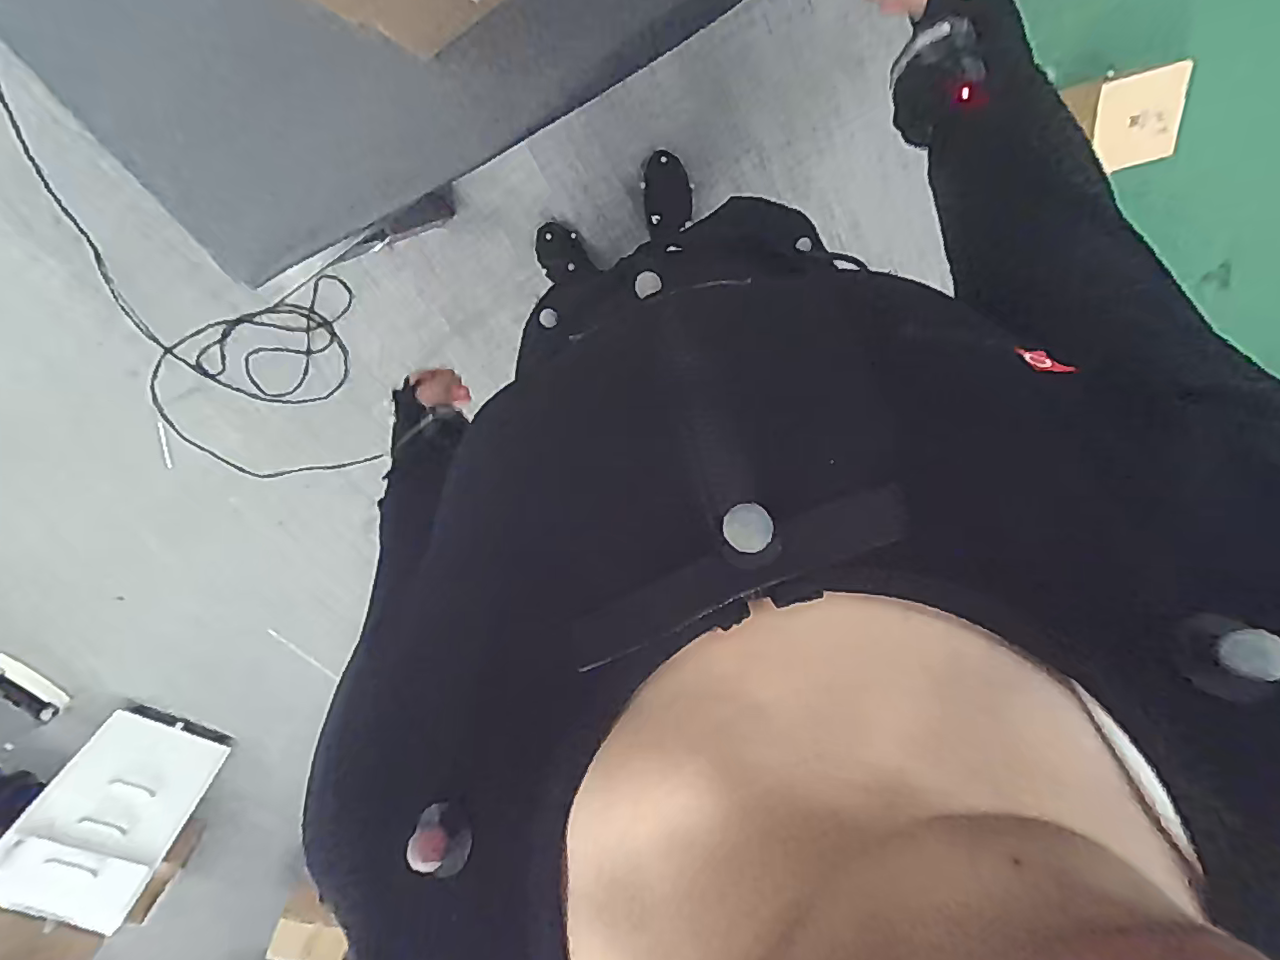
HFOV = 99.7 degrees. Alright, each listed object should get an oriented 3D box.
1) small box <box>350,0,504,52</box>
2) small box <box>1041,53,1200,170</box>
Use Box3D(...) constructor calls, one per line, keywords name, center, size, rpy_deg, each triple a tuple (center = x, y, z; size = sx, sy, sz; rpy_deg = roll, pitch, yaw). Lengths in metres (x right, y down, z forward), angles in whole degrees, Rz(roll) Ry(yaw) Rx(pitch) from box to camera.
Box3D(name="small box", center=(-0.170, -0.467, 0.401), size=(0.179, 0.176, 0.168), rpy_deg=(-27, 117, 13))
Box3D(name="small box", center=(0.997, -0.767, 1.144), size=(0.179, 0.176, 0.168), rpy_deg=(-14, 121, 4))
